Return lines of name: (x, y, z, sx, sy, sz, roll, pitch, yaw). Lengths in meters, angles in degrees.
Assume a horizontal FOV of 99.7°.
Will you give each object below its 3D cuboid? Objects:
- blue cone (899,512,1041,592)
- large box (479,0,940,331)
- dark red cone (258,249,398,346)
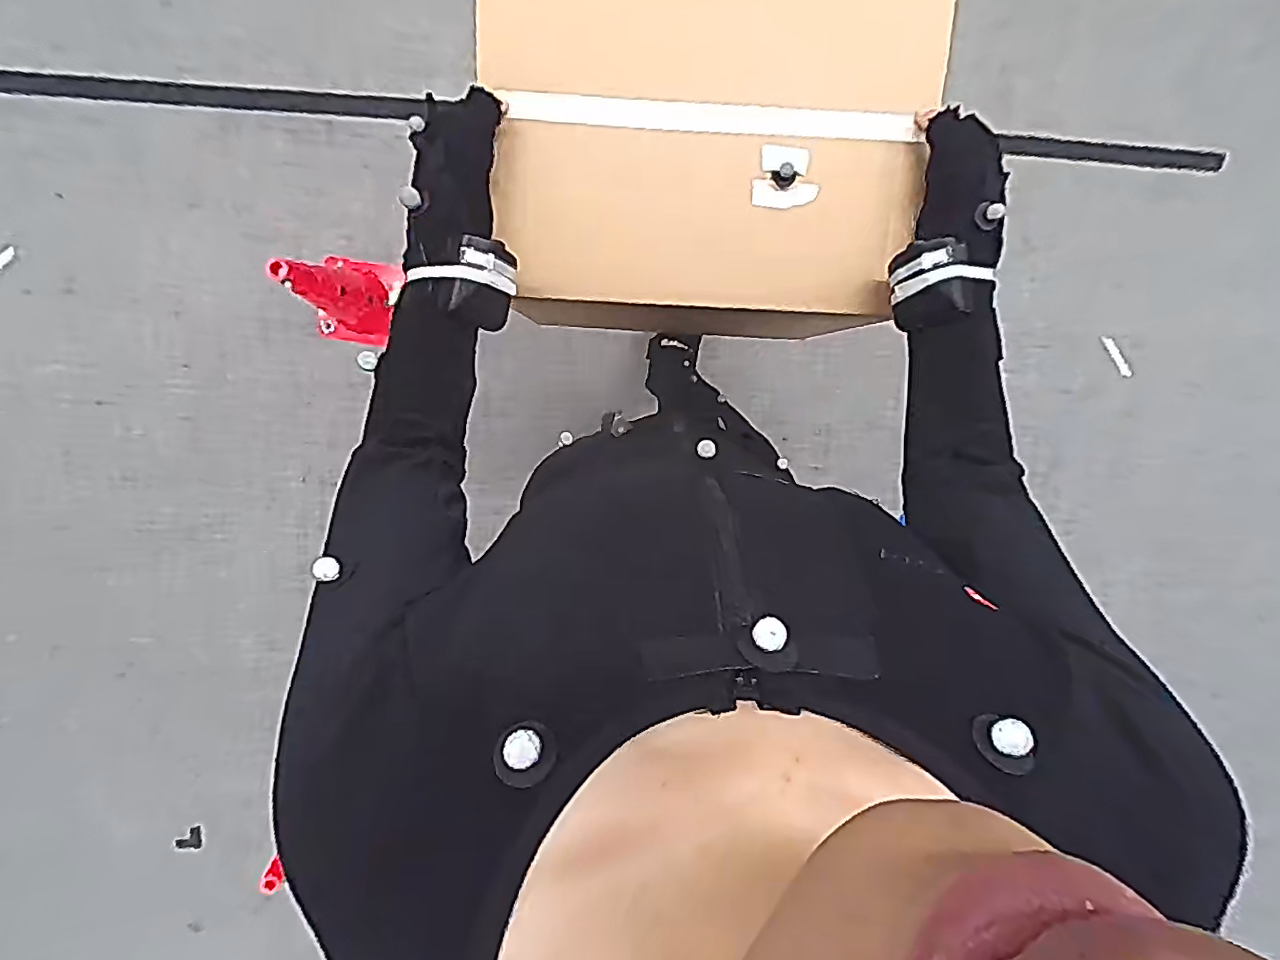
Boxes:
blue cone: (0.848, 0.207, 1.381, 0.192, 0.380, 0.193, 5, 98, -5)
large box: (0.053, -0.350, 0.624, 0.408, 0.320, 0.320, 2, 101, -3)
dark red cone: (-0.685, -0.418, 1.162, 0.201, 0.394, 0.202, 8, 98, -6)
